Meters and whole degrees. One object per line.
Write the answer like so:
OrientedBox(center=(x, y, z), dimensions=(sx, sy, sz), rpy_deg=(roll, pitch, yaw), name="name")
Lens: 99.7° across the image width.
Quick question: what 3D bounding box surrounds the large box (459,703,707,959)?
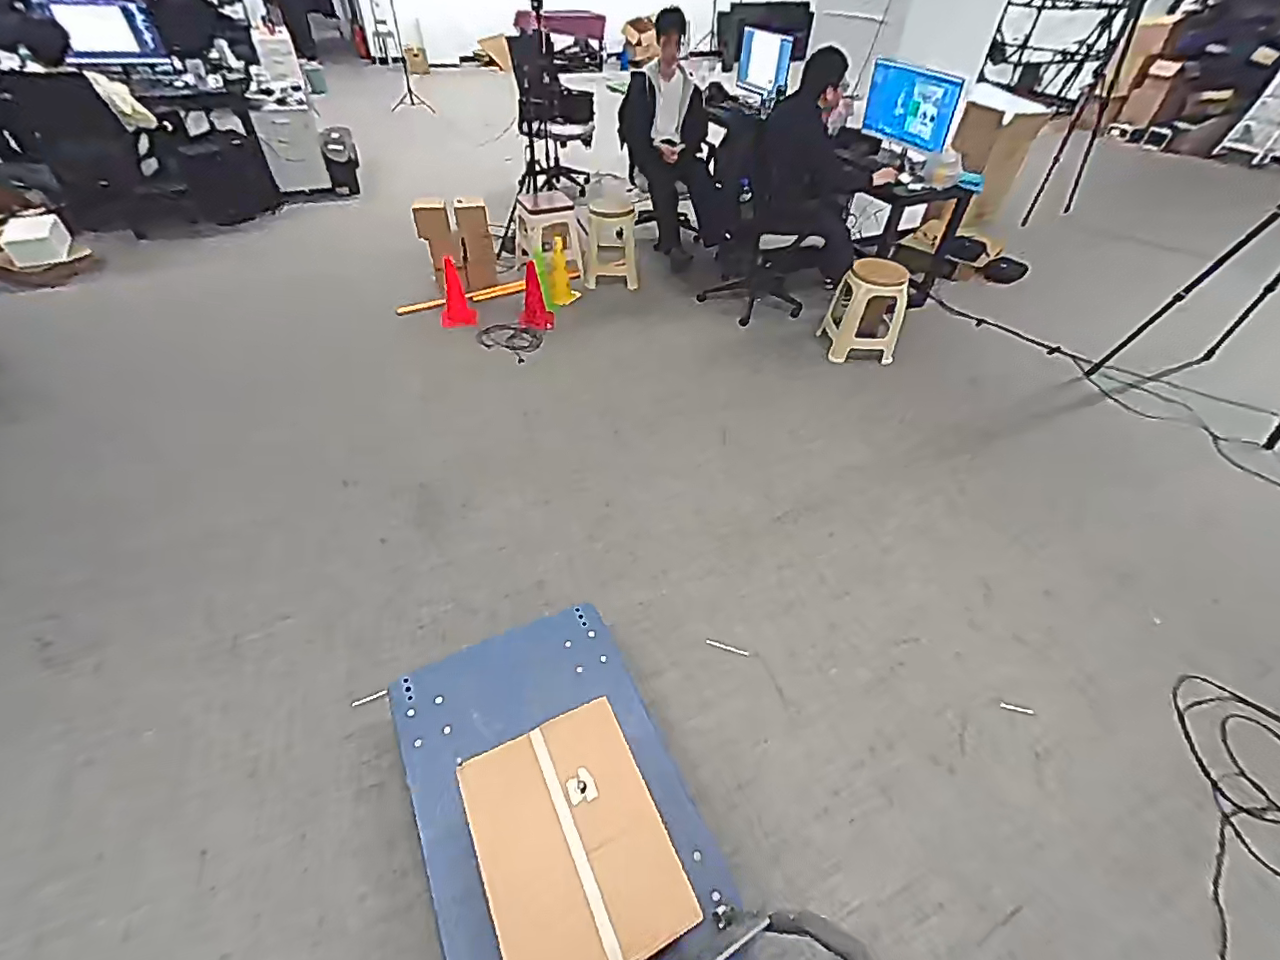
OrientedBox(center=(-0.118, 0.735, 1.054), dimensions=(0.320, 0.320, 0.408), rpy_deg=(-19, 52, -20), name="large box")
